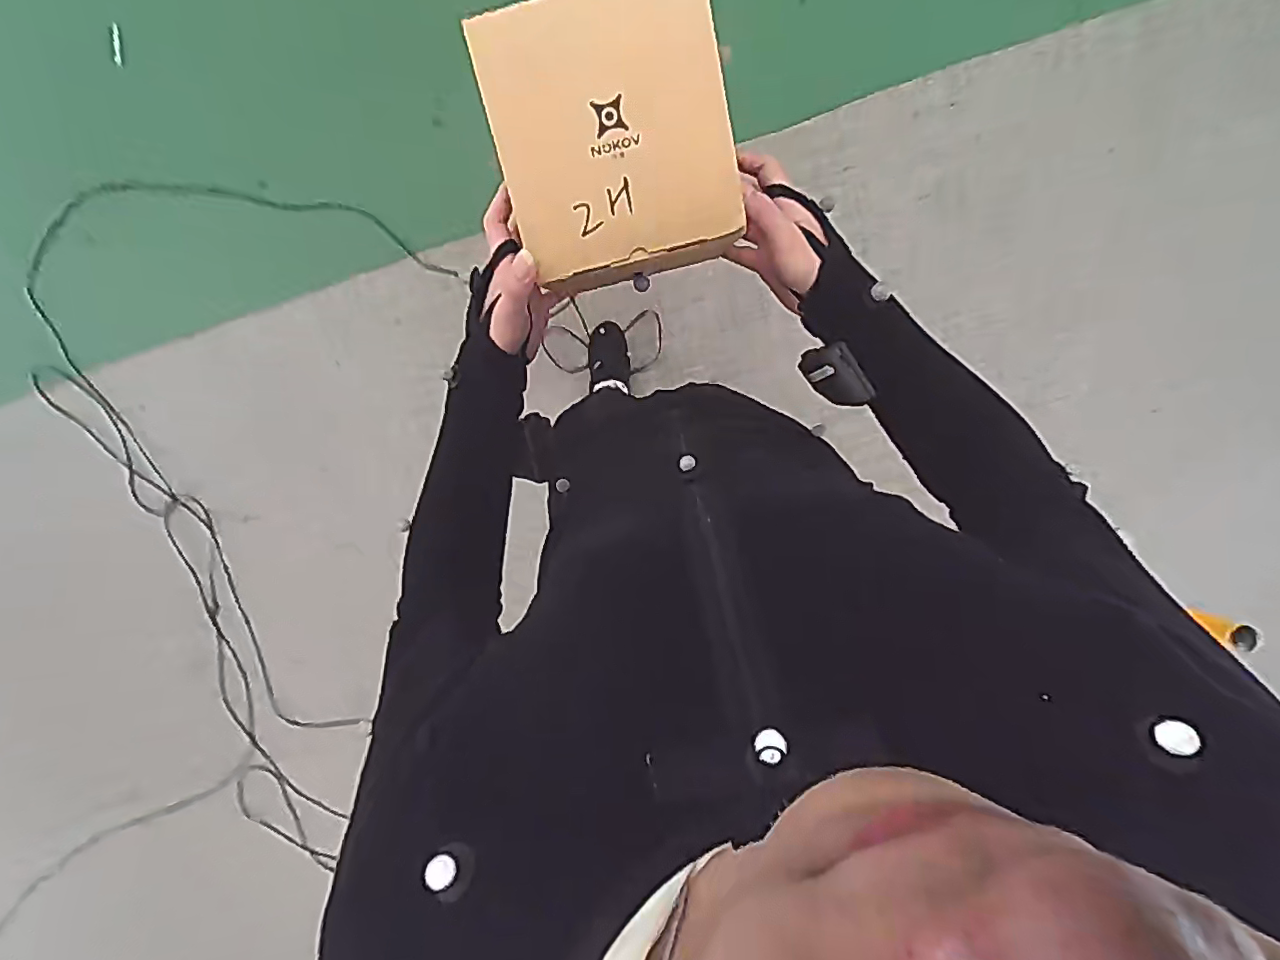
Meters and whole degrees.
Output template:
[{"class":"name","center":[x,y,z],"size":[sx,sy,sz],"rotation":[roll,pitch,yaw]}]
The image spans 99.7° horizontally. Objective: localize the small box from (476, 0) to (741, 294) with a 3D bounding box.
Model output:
[{"class":"small box","center":[-0.018,-0.270,0.468],"size":[0.168,0.176,0.179],"rotation":[-11,106,5]}]
